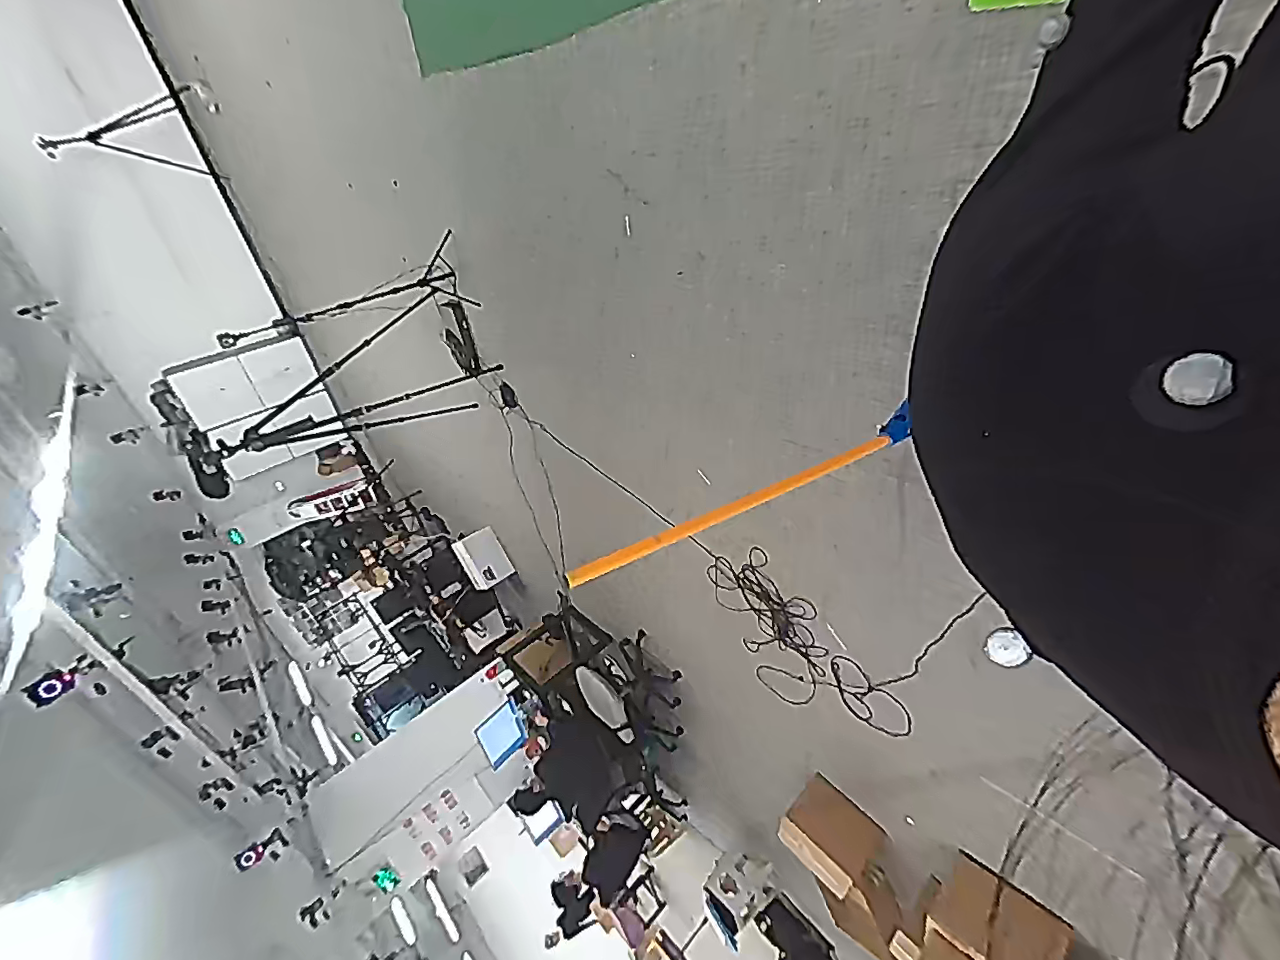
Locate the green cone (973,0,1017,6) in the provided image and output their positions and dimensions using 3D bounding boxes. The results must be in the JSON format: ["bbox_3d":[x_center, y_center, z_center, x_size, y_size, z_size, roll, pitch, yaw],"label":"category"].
[{"bbox_3d":[0.597,-0.920,0.888,0.202,0.368,0.200,31,140,39],"label":"green cone"}]
